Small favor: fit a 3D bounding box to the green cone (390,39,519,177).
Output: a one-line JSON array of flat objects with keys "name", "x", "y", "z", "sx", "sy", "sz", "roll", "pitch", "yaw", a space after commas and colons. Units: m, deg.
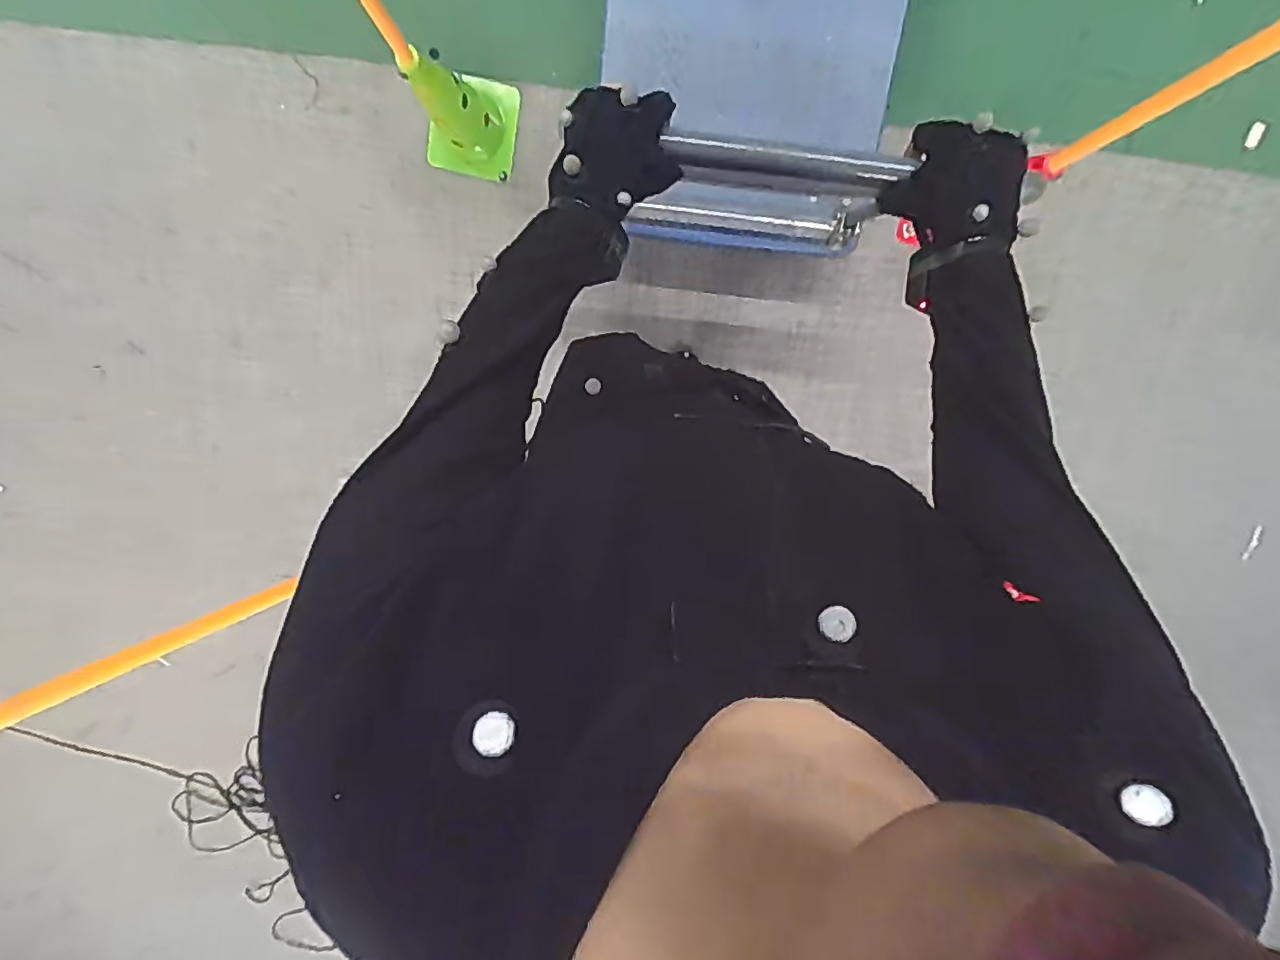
[{"name": "green cone", "x": -0.396, "y": -0.785, "z": 1.096, "sx": 0.202, "sy": 0.368, "sz": 0.200, "roll": 12, "pitch": 106, "yaw": -1}]
